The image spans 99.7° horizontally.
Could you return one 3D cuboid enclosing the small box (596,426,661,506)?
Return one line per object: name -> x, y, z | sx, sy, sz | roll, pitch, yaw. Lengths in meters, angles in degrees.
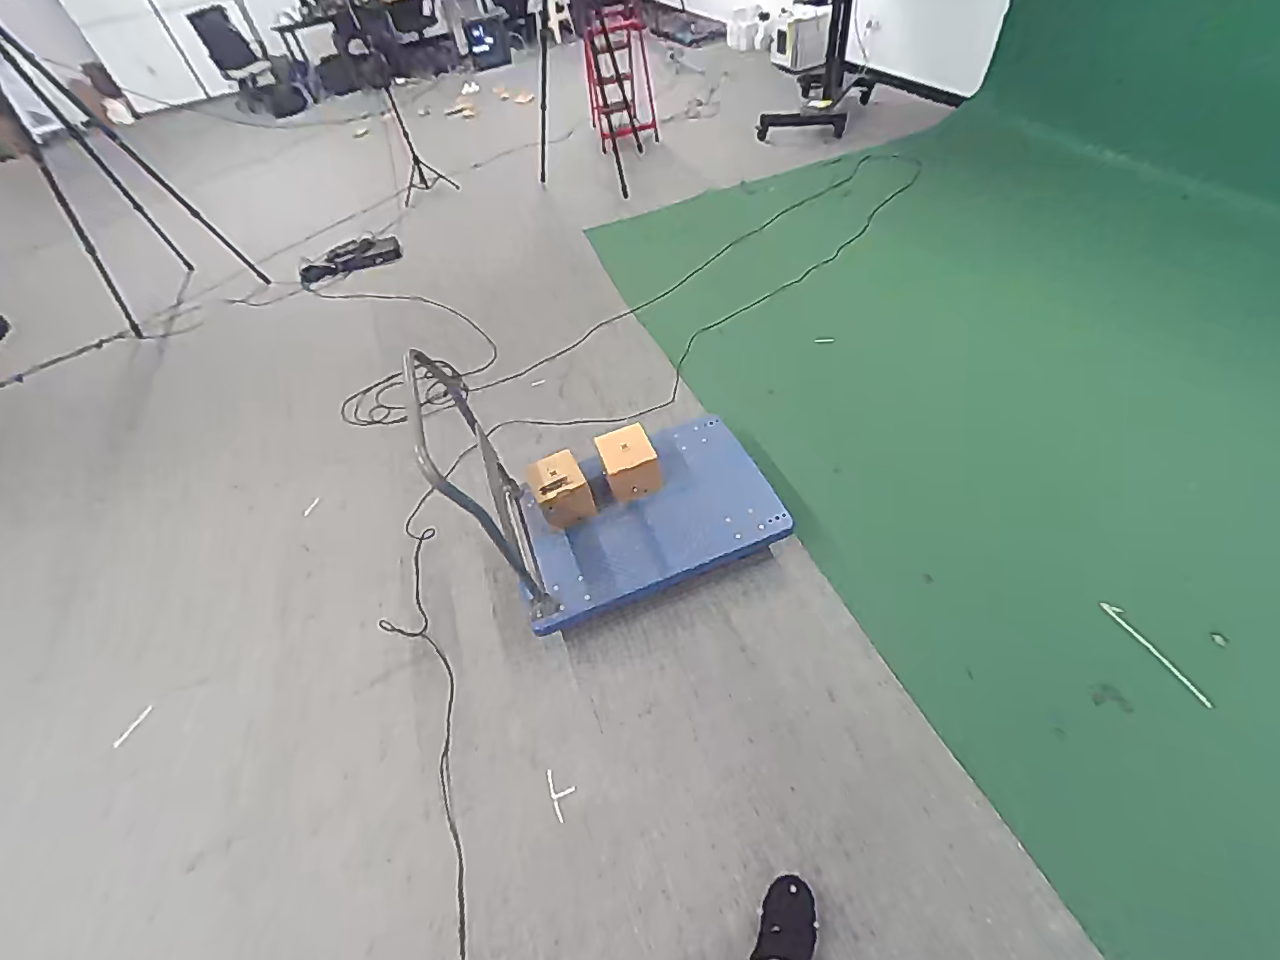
small box -> -0.037, -0.046, 1.808 | 0.168, 0.176, 0.179 | -20, 51, -8
